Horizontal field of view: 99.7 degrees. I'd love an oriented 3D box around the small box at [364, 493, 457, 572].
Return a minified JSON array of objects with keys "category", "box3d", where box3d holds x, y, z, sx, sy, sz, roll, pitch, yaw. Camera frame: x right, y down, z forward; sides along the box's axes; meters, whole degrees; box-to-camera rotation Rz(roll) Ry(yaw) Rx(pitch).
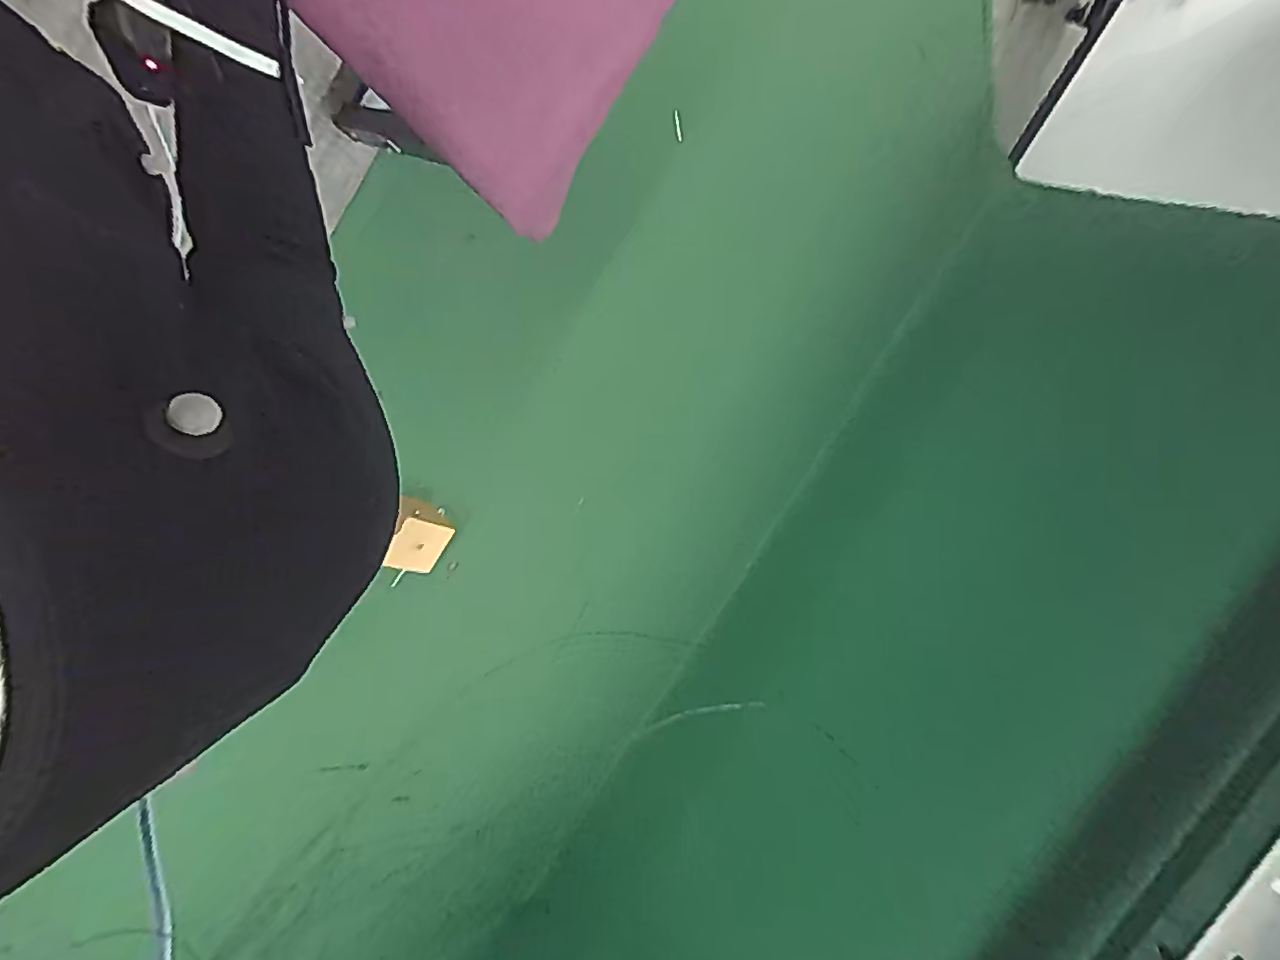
[{"category":"small box","box3d":[-0.708,0.159,1.667,0.168,0.176,0.179,-58,143,3]}]
